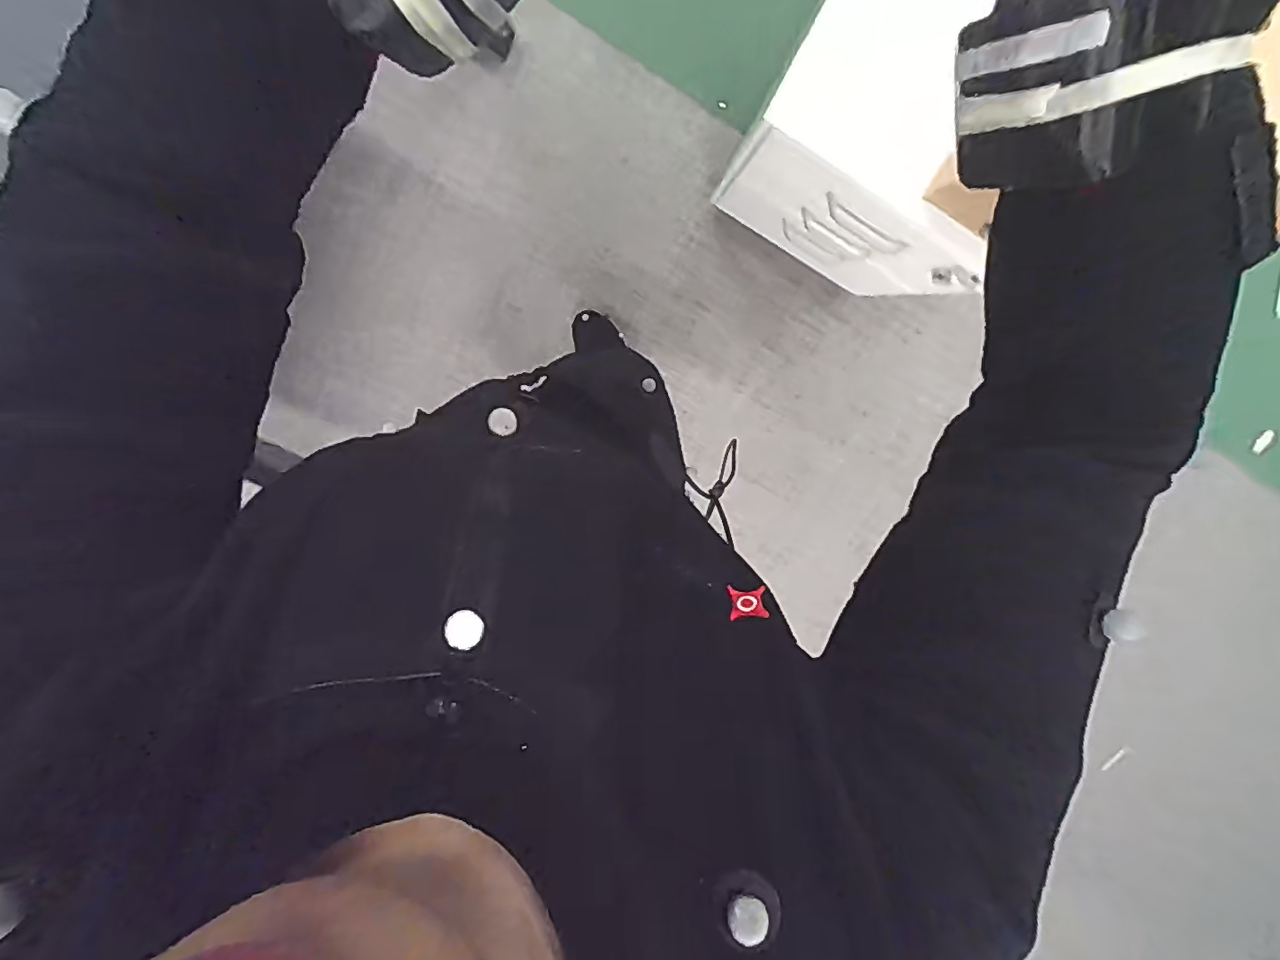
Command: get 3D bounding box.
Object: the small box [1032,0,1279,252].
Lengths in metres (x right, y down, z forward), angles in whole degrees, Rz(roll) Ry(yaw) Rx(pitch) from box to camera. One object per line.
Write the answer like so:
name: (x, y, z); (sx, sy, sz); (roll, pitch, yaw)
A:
small box: (0.461, -0.303, 0.424); (0.168, 0.176, 0.179); (30, 105, -9)
